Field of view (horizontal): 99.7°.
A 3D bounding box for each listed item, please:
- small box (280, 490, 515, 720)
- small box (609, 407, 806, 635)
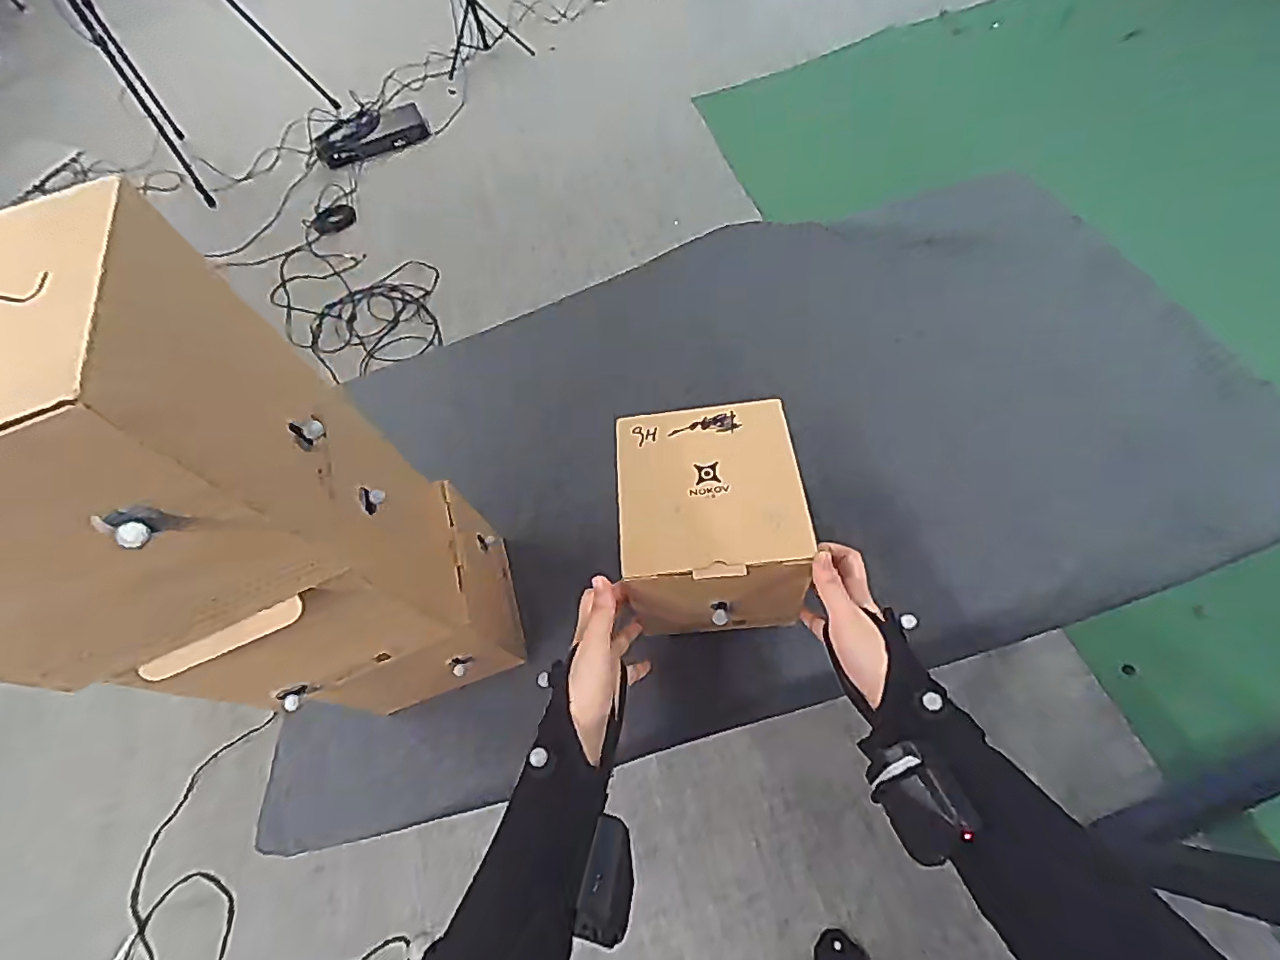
[{"bbox_3d":[-0.248,0.142,0.581,0.179,0.176,0.168,-21,59,-1],"label":"small box"},{"bbox_3d":[0.066,0.053,0.557,0.168,0.176,0.179,-7,58,5],"label":"small box"}]
